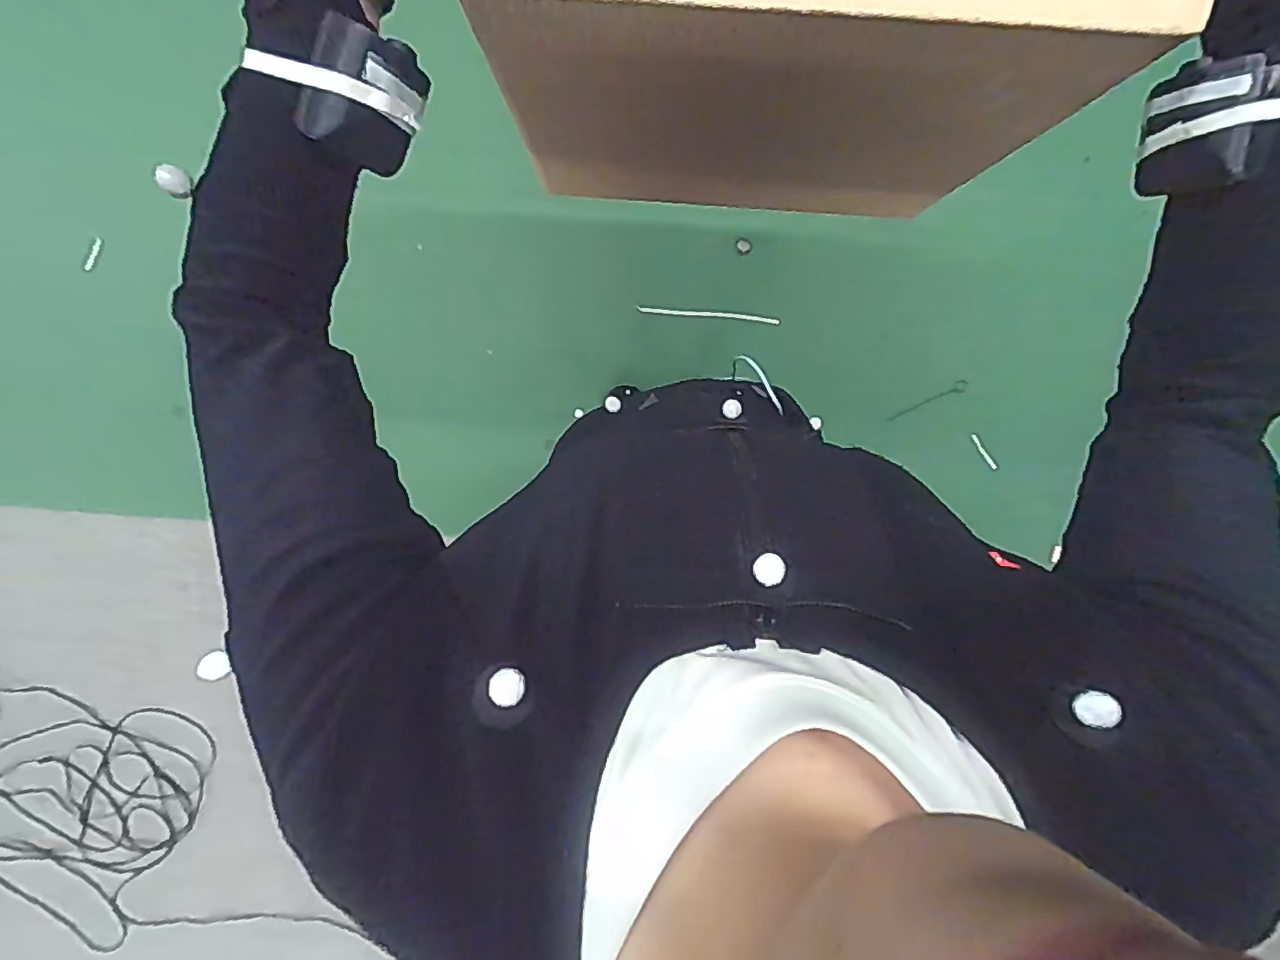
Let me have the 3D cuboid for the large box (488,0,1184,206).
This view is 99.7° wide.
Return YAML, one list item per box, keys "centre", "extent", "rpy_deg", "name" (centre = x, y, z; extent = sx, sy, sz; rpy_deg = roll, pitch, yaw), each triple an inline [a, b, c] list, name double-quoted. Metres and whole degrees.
- centre: [0.109, -0.434, 0.424]
  extent: [0.408, 0.320, 0.320]
  rpy_deg: [3, 100, -2]
  name: "large box"
